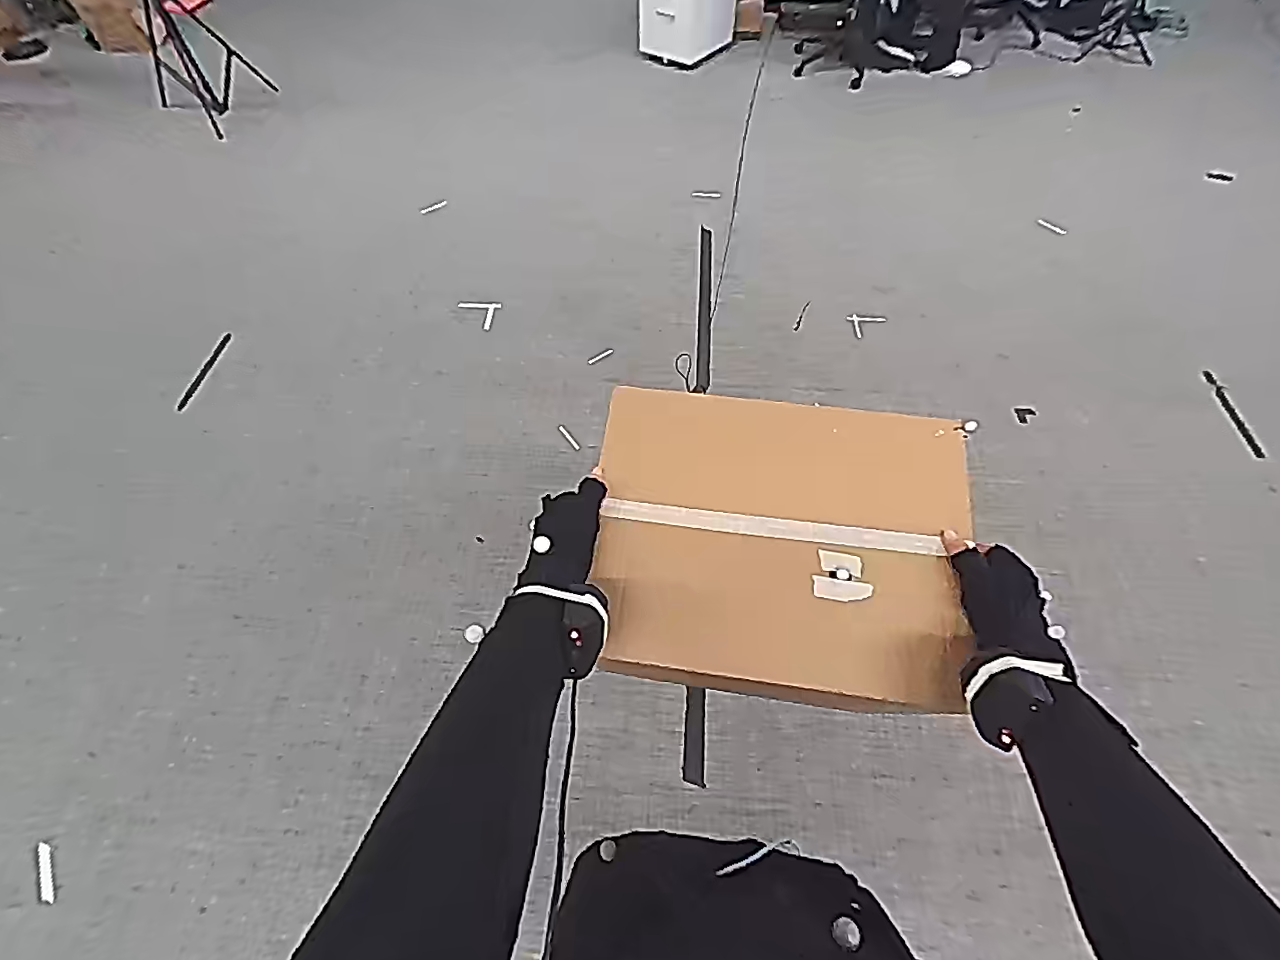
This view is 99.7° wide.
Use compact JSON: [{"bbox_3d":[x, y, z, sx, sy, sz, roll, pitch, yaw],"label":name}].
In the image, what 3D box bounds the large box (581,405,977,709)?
[{"bbox_3d":[0.154,0.122,0.735,0.408,0.320,0.320,6,68,5],"label":"large box"}]
